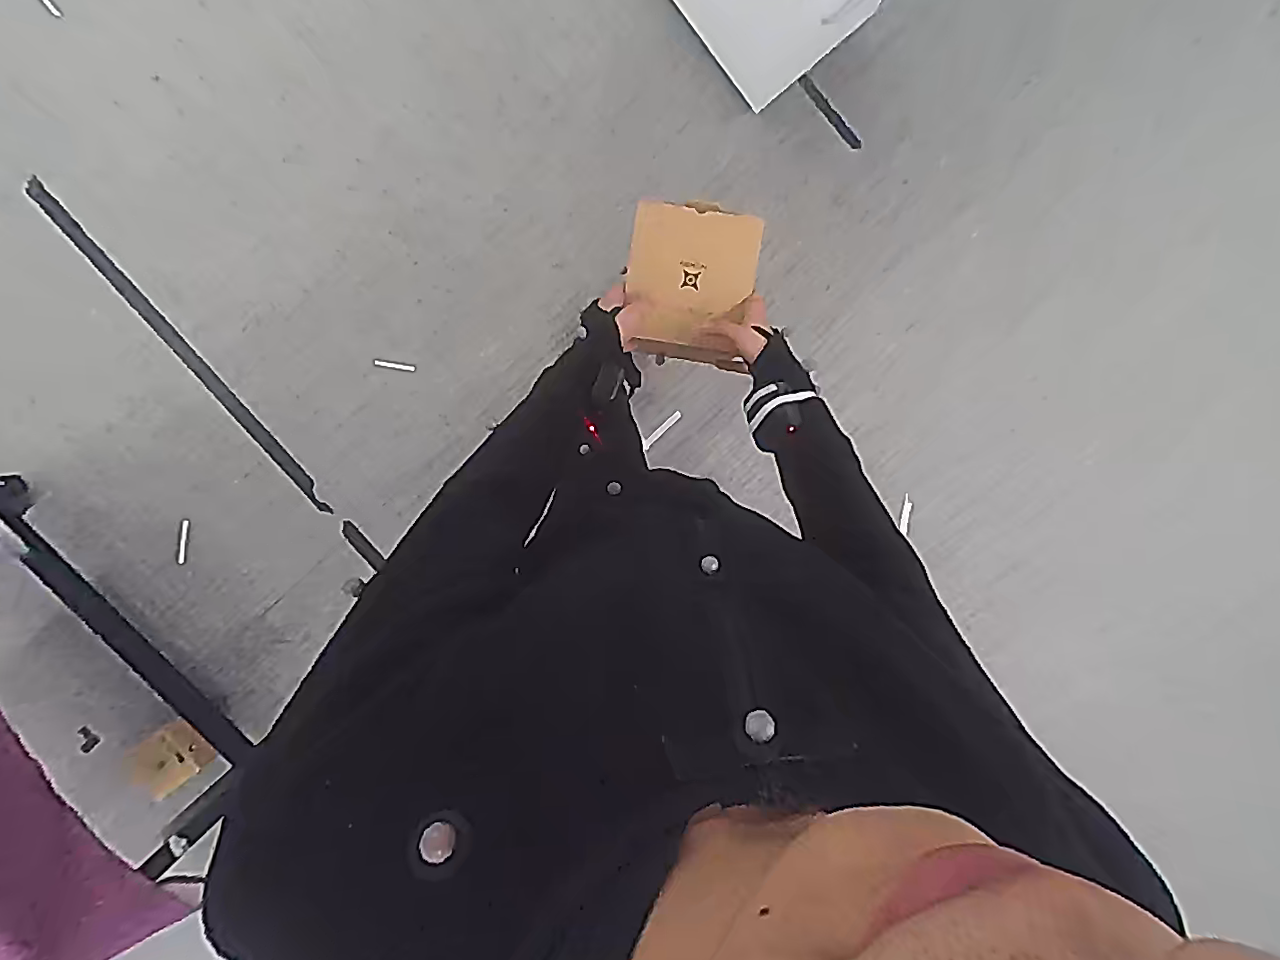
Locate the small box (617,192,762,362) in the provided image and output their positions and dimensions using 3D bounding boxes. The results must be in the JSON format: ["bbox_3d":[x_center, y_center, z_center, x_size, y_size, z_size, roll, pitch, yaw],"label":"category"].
[{"bbox_3d":[0.060,-0.274,0.770,0.168,0.176,0.179,9,97,-2],"label":"small box"}]
